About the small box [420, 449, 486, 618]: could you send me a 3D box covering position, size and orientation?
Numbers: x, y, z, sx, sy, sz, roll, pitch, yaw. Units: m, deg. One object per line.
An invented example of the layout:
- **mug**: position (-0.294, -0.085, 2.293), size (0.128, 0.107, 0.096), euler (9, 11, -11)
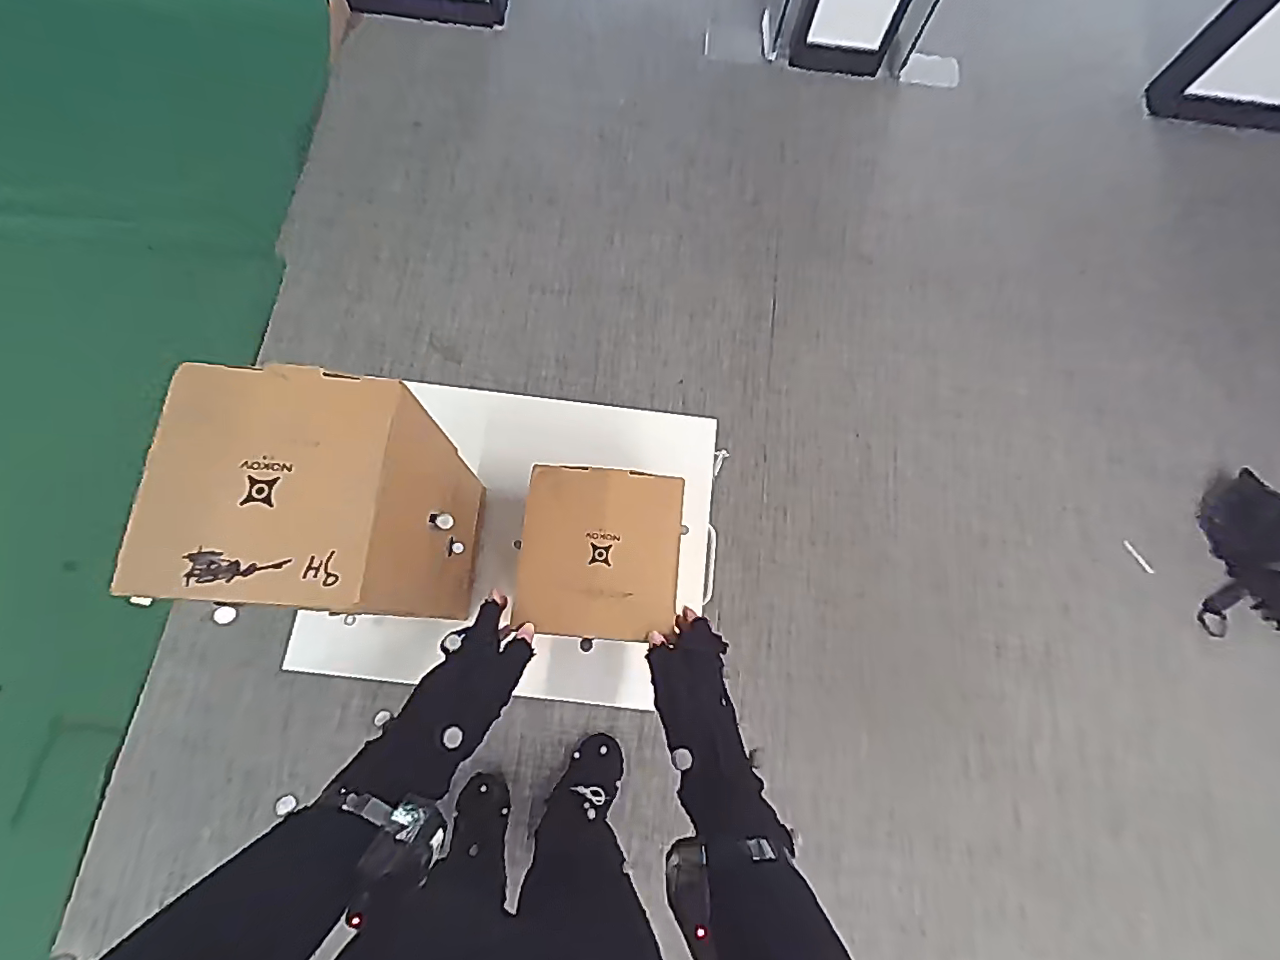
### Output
- **small box**: position (-0.287, 0.067, 0.630), size (0.168, 0.176, 0.179), euler (4, 73, -2)

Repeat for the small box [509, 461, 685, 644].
- **small box**: position (-0.043, 0.089, 0.621), size (0.168, 0.176, 0.179), euler (4, 76, 0)

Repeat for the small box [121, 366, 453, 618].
- **small box**: position (-0.275, 0.023, 0.474), size (0.168, 0.176, 0.179), euler (4, 73, -2)
